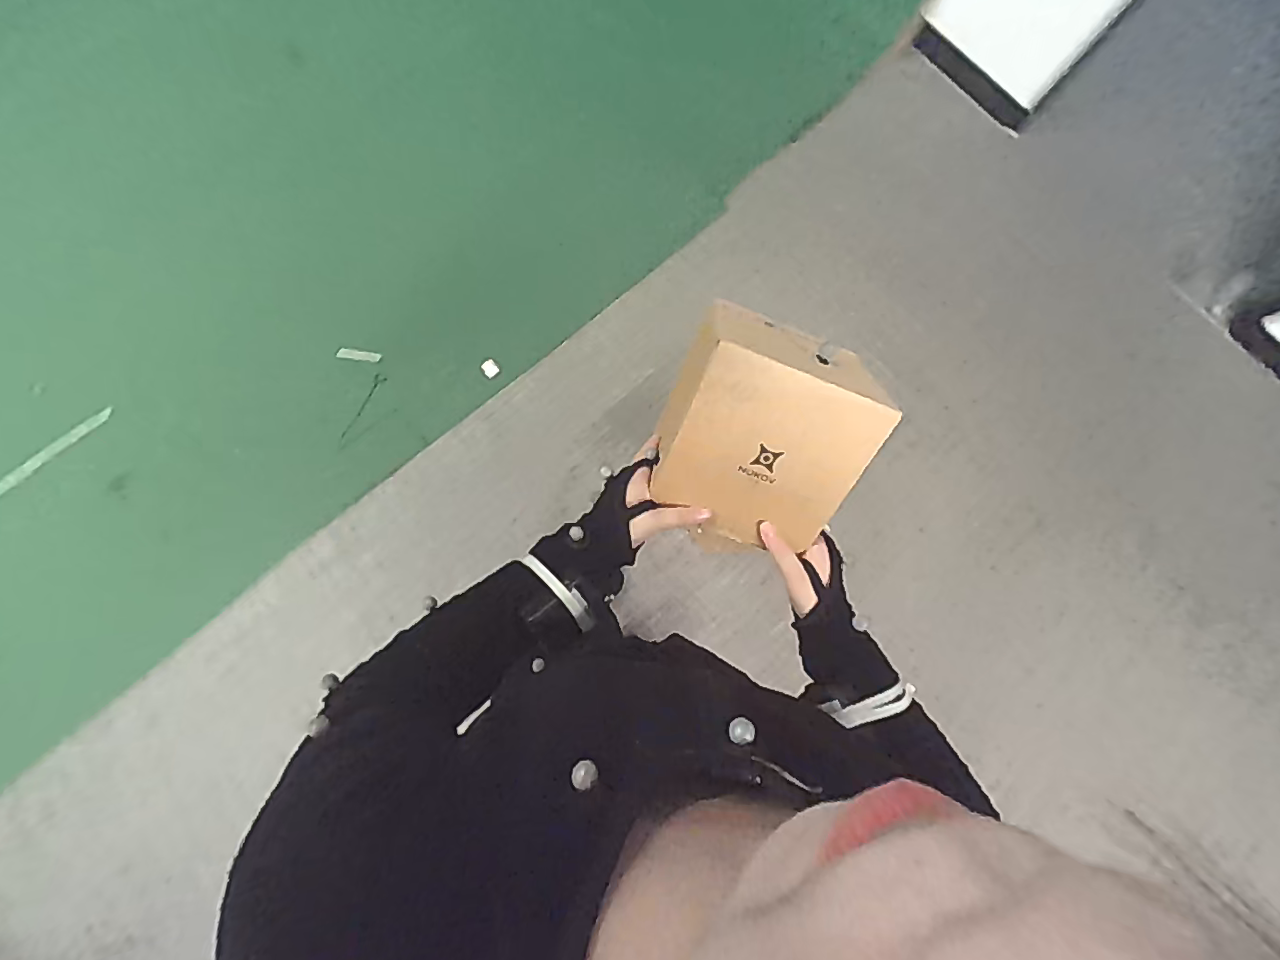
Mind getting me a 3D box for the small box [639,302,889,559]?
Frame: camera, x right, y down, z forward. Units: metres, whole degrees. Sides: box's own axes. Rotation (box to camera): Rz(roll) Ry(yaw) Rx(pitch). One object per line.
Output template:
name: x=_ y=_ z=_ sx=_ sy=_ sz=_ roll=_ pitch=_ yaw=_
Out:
small box: x=0.108 y=-0.058 z=0.548 sx=0.168 sy=0.176 sz=0.179 roll=20 pitch=122 yaw=-7
